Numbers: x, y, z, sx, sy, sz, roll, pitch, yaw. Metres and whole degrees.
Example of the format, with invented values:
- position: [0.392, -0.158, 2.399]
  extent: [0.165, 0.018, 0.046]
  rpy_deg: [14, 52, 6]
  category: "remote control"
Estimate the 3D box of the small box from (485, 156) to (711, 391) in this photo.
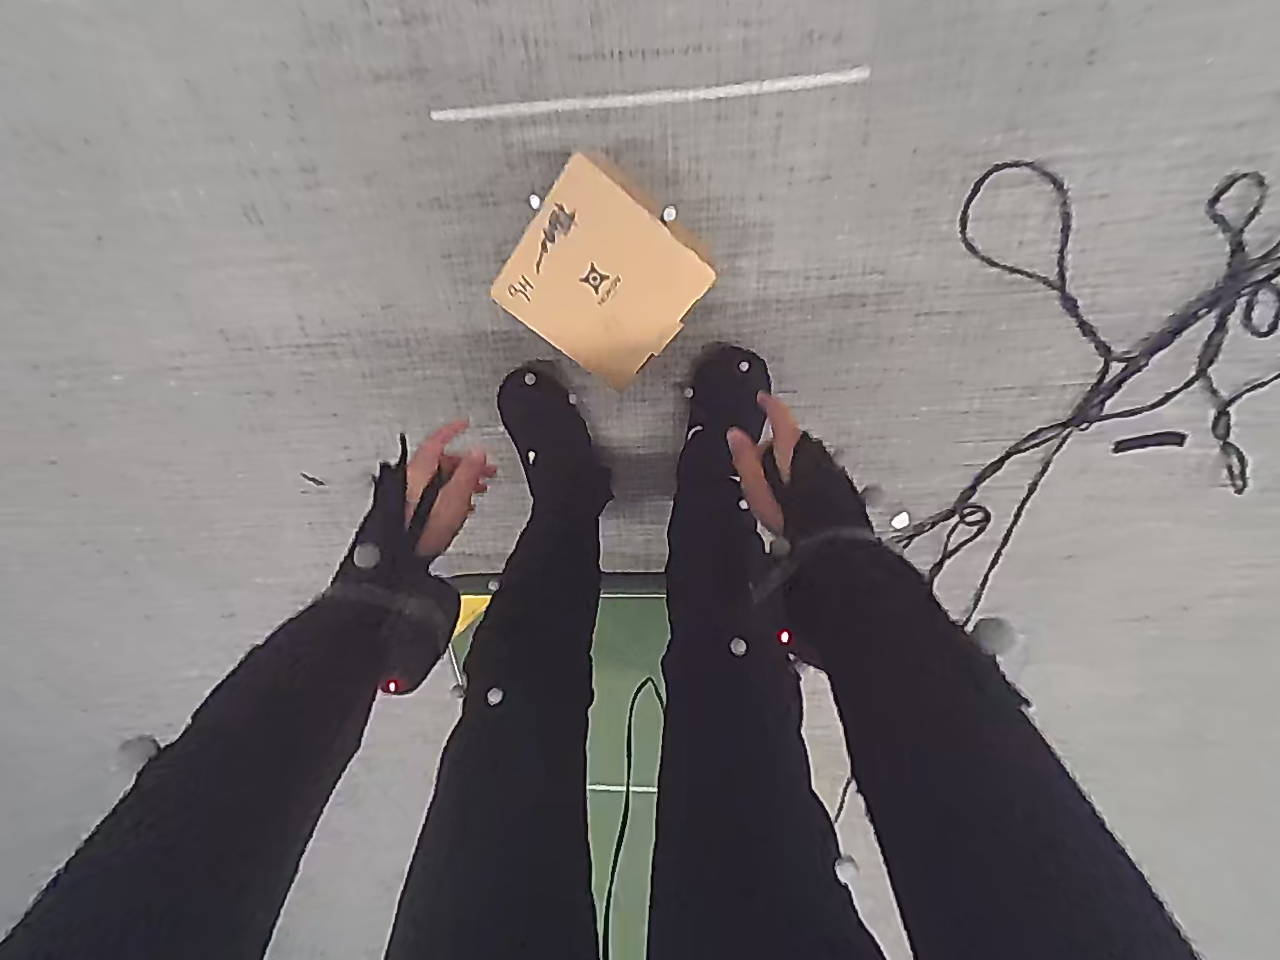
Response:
- position: [-0.041, -0.240, 0.615]
  extent: [0.179, 0.176, 0.168]
  rpy_deg: [35, 117, -18]
  category: "small box"
